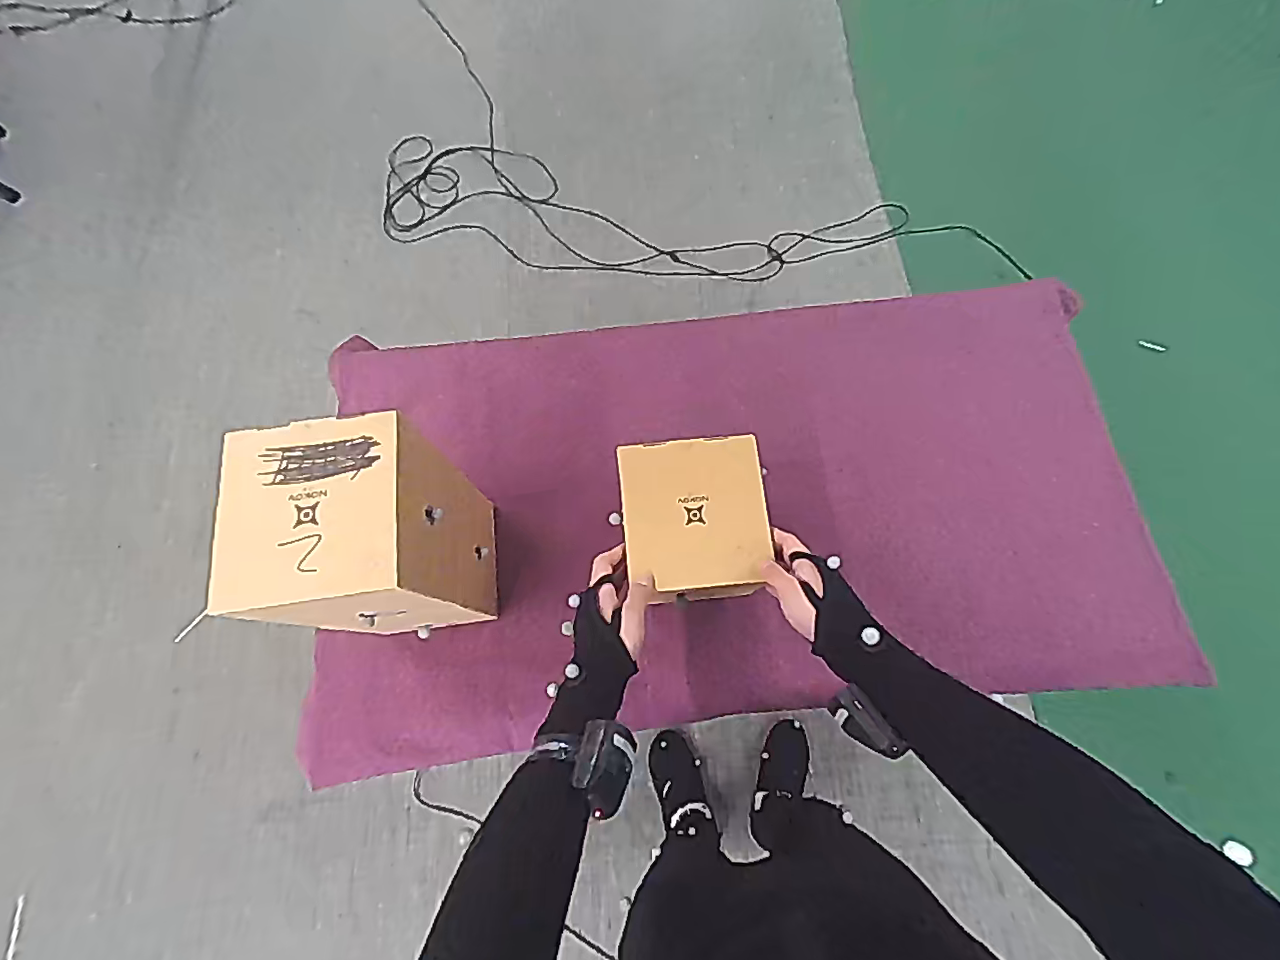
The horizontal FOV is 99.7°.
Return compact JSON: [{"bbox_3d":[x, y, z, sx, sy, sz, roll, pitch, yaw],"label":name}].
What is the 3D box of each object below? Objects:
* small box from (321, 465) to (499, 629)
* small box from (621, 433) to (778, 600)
[{"bbox_3d":[-0.291,0.096,0.720,0.168,0.176,0.179,-7,72,-1],"label":"small box"},{"bbox_3d":[0.067,0.057,0.691,0.168,0.176,0.179,-5,71,-1],"label":"small box"}]
